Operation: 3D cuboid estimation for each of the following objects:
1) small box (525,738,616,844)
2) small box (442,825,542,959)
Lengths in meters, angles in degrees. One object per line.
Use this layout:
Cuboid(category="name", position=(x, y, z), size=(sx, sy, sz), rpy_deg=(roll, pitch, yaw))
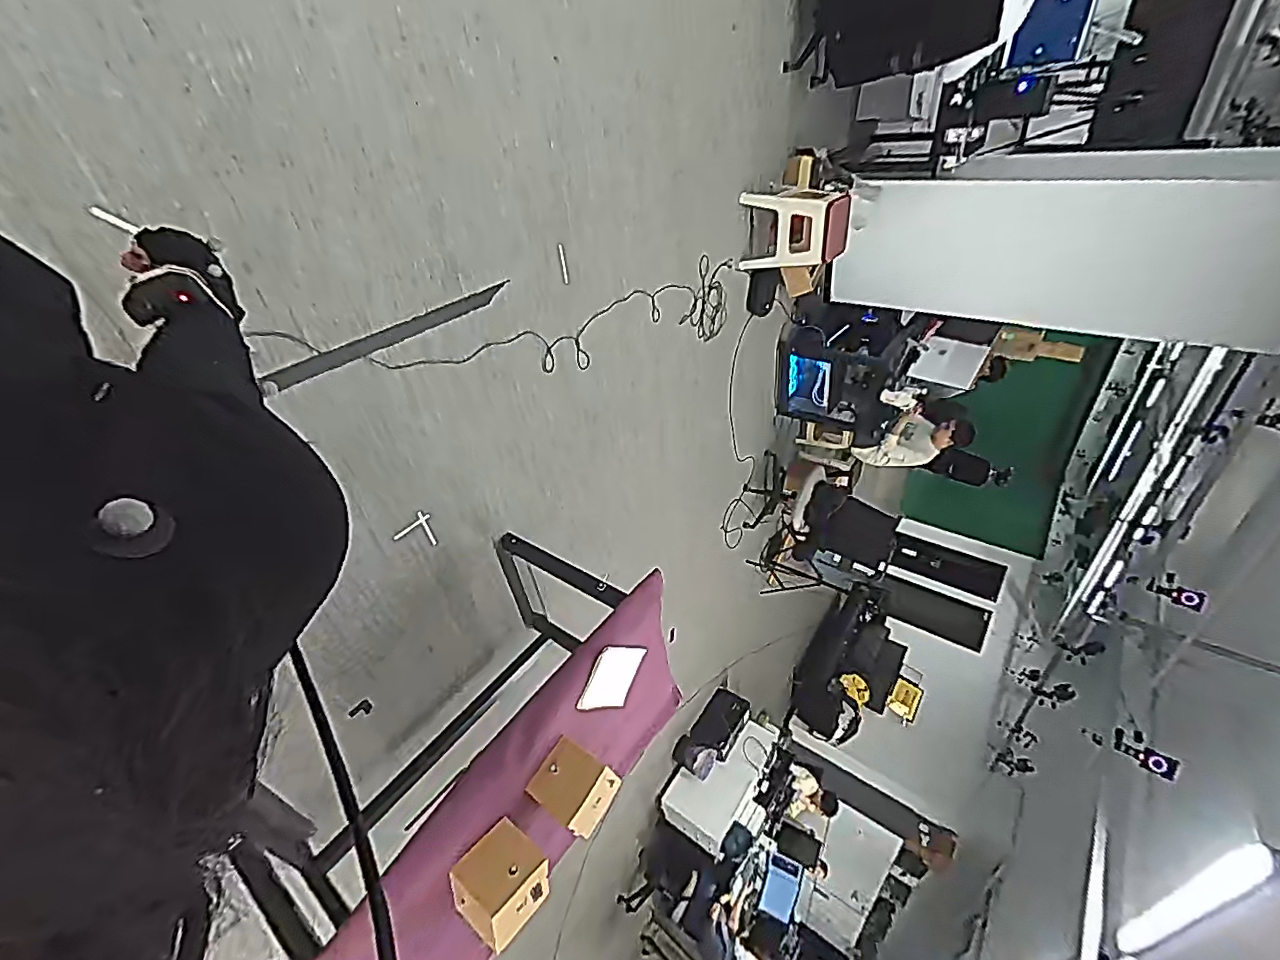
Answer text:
Cuboid(category="small box", position=(-0.200, 0.869, 1.517), size=(0.179, 0.176, 0.168), rpy_deg=(-50, 143, -28))
Cuboid(category="small box", position=(-0.365, 1.018, 1.348), size=(0.179, 0.176, 0.168), rpy_deg=(-27, 129, -47))
